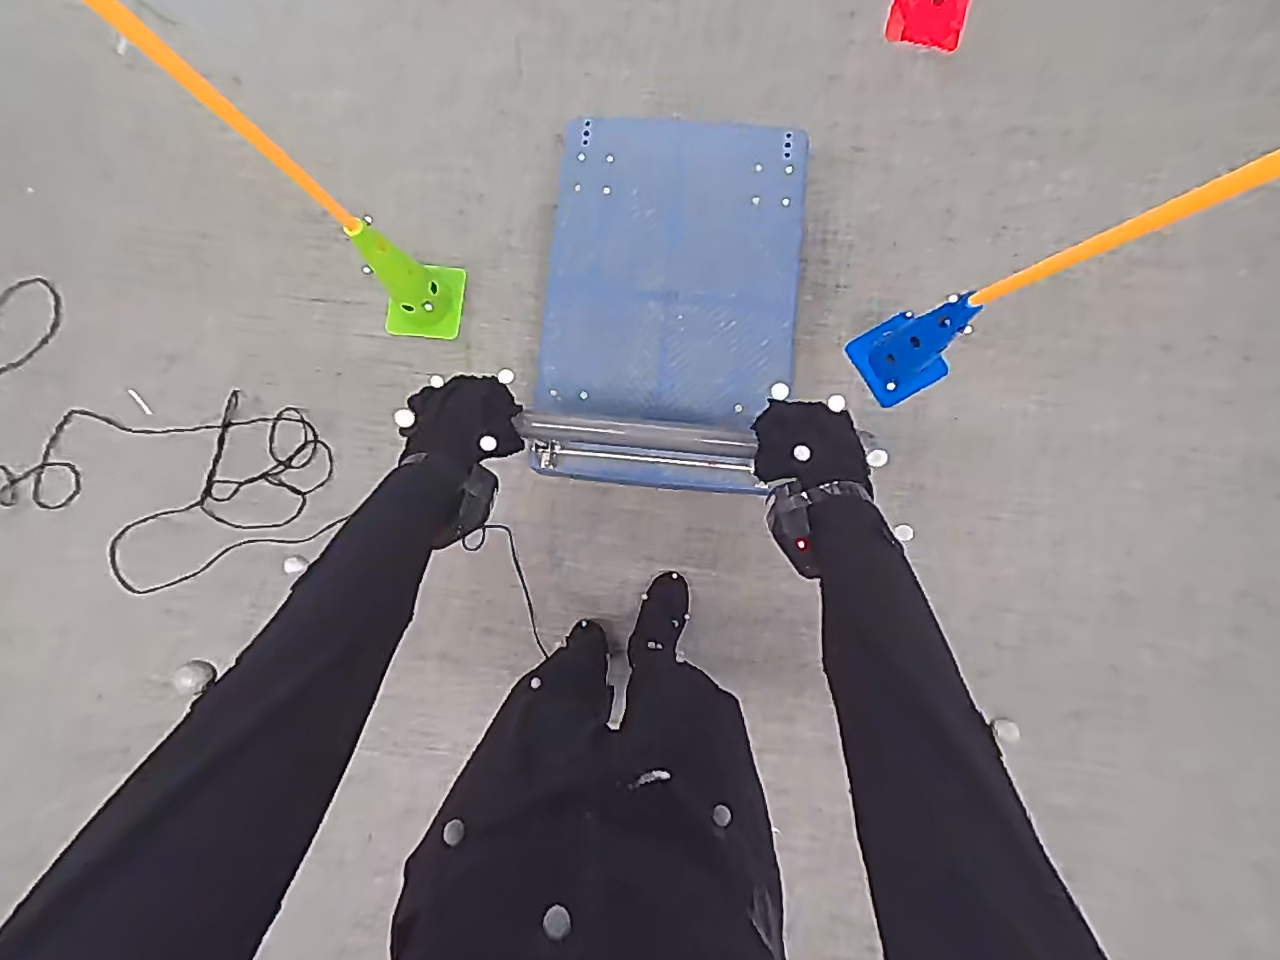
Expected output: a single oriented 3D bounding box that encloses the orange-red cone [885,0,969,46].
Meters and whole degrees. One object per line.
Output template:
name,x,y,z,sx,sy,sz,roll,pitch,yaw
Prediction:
orange-red cone,0.770,-1.295,1.297,0.198,0.360,0.199,18,86,6
